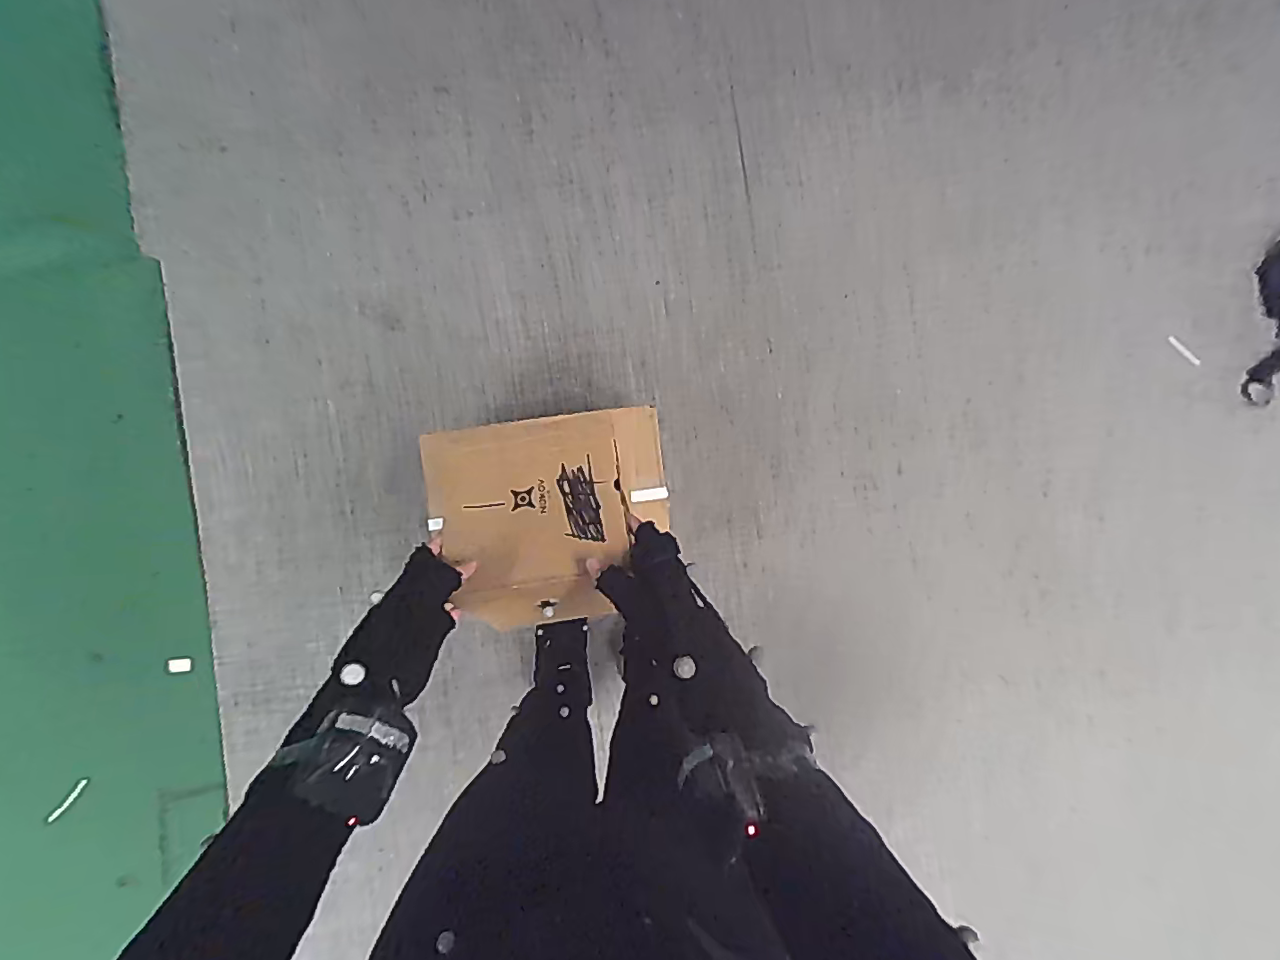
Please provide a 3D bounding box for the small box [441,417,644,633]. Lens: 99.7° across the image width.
[{"bbox_3d":[-0.094,0.057,0.579,0.179,0.176,0.168,-11,64,2],"label":"small box"}]
